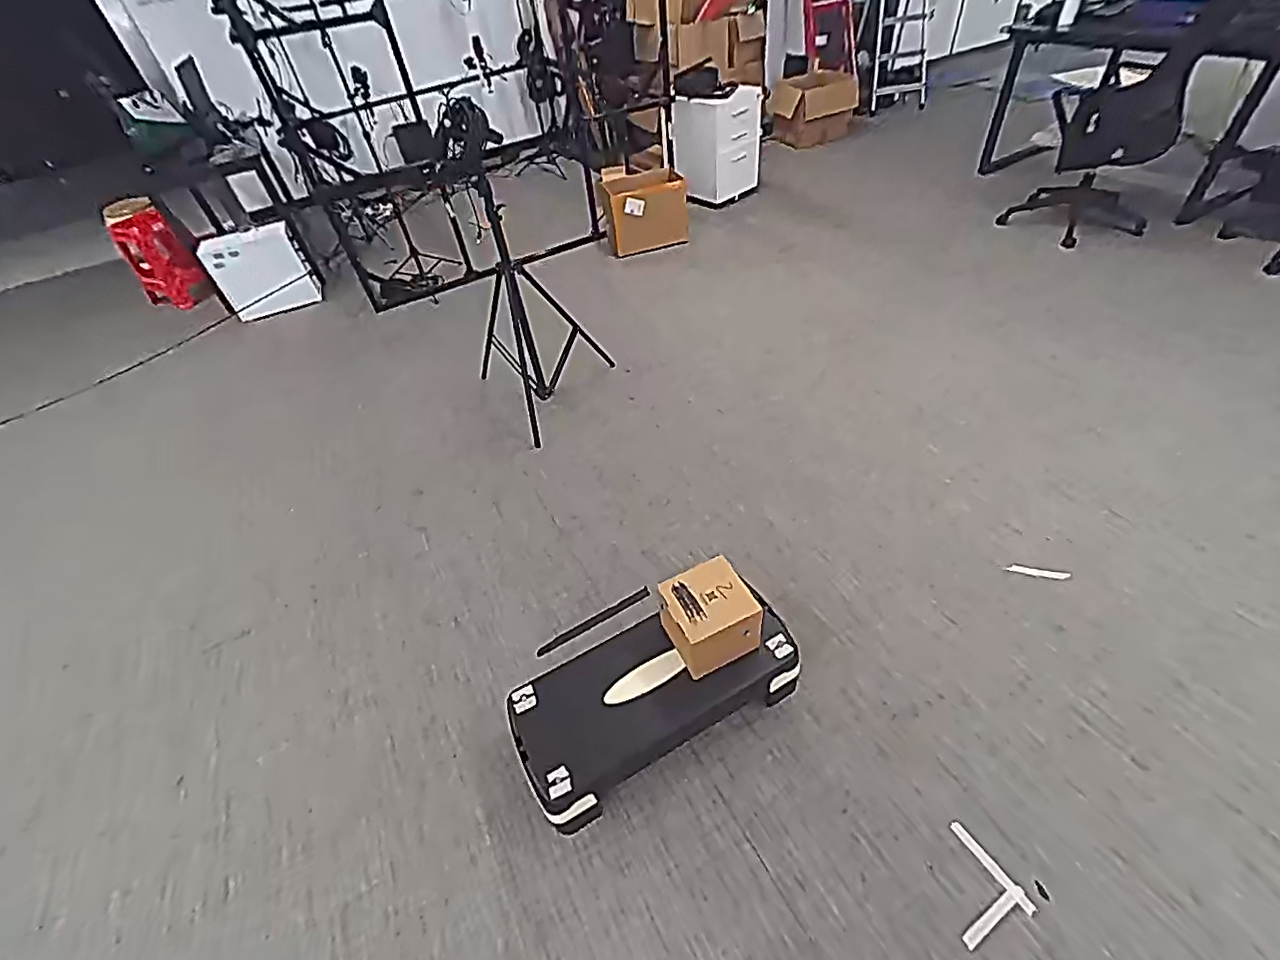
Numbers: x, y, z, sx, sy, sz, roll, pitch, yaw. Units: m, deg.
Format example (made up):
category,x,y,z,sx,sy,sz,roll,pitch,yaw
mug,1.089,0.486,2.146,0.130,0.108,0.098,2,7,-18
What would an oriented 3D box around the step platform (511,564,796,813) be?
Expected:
category,x,y,z,sx,sy,sz,roll,pitch,yaw
step platform,0.040,0.482,1.319,0.684,0.204,0.286,-26,48,-15
